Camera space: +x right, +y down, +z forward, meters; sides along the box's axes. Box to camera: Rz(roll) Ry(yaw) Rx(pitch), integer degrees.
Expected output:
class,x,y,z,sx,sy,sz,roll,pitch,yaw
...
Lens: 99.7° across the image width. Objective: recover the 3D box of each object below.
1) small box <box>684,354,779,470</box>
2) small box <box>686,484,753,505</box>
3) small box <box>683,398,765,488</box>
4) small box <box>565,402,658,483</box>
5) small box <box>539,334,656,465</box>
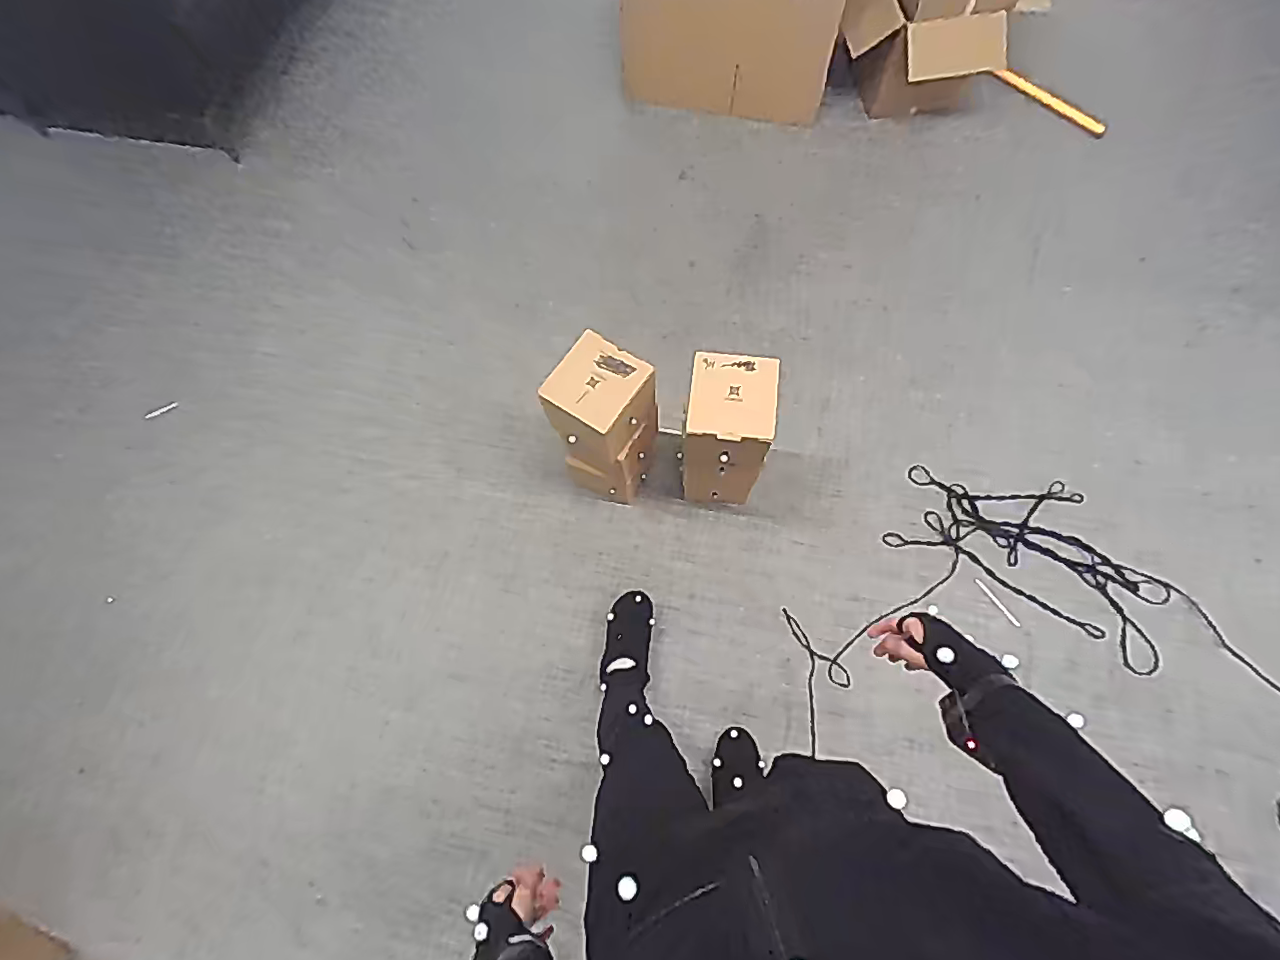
class,x,y,z,sx,sy,sz,roll,pitch,yaw
small box,0.181,-0.131,1.101,0.168,0.176,0.179,7,73,6
small box,0.207,-0.040,1.413,0.168,0.176,0.179,3,70,4
small box,0.188,-0.083,1.257,0.179,0.176,0.168,-1,71,4
small box,-0.070,-0.114,1.285,0.179,0.176,0.168,28,73,11
small box,-0.082,-0.162,1.128,0.168,0.176,0.179,32,75,13
